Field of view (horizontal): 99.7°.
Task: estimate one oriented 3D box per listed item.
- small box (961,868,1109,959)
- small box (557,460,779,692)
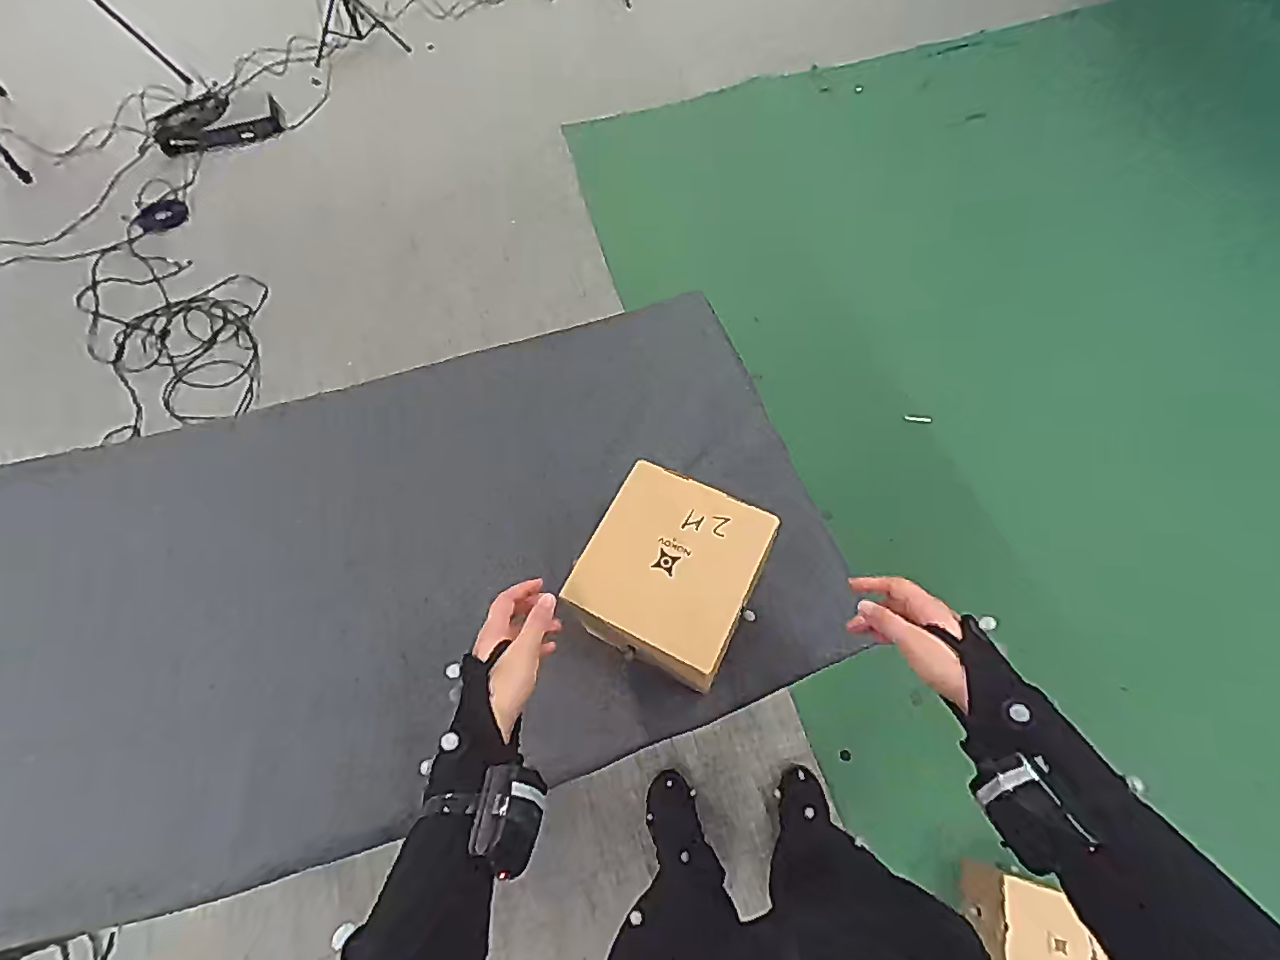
[{"bbox_3d":[0.737,0.866,1.023,0.179,0.176,0.168,14,65,10],"label":"small box"},{"bbox_3d":[0.036,0.115,0.602,0.168,0.176,0.179,25,68,16],"label":"small box"}]
